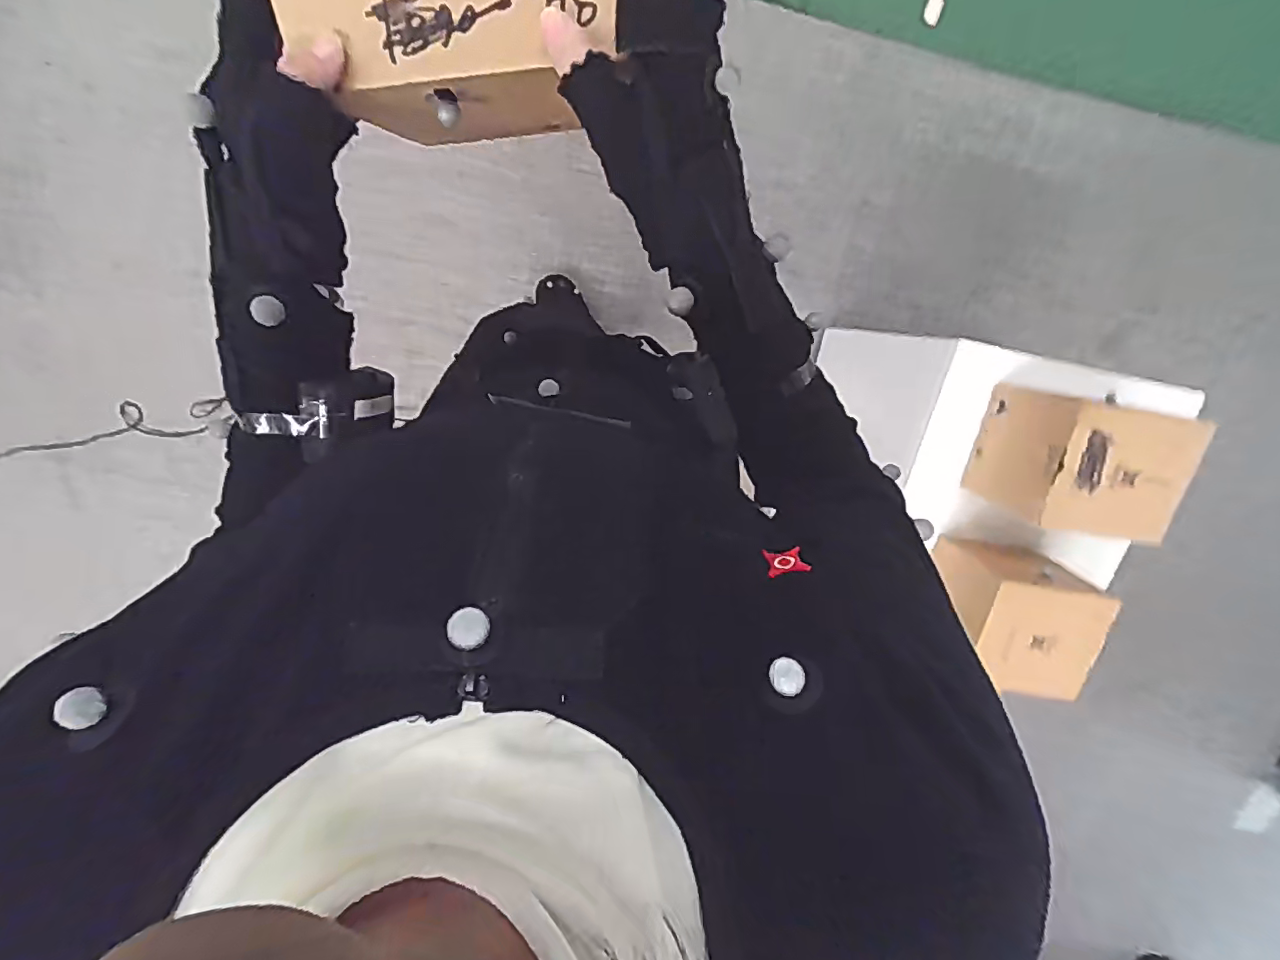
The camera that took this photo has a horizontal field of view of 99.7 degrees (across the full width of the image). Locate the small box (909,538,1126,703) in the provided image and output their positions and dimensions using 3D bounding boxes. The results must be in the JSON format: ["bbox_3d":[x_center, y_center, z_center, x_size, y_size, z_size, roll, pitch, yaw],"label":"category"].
[{"bbox_3d":[0.544,0.200,0.808,0.179,0.176,0.168,10,107,-2],"label":"small box"}]

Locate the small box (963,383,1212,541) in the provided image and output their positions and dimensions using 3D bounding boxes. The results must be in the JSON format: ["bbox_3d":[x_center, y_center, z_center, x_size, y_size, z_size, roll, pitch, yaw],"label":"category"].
[{"bbox_3d":[0.594,-0.035,0.748,0.179,0.176,0.168,9,108,-5],"label":"small box"}]

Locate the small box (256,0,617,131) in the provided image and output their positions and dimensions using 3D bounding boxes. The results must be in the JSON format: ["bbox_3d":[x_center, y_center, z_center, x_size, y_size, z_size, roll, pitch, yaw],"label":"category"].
[{"bbox_3d":[-0.103,-0.314,0.297,0.168,0.176,0.179,-6,116,2],"label":"small box"}]
